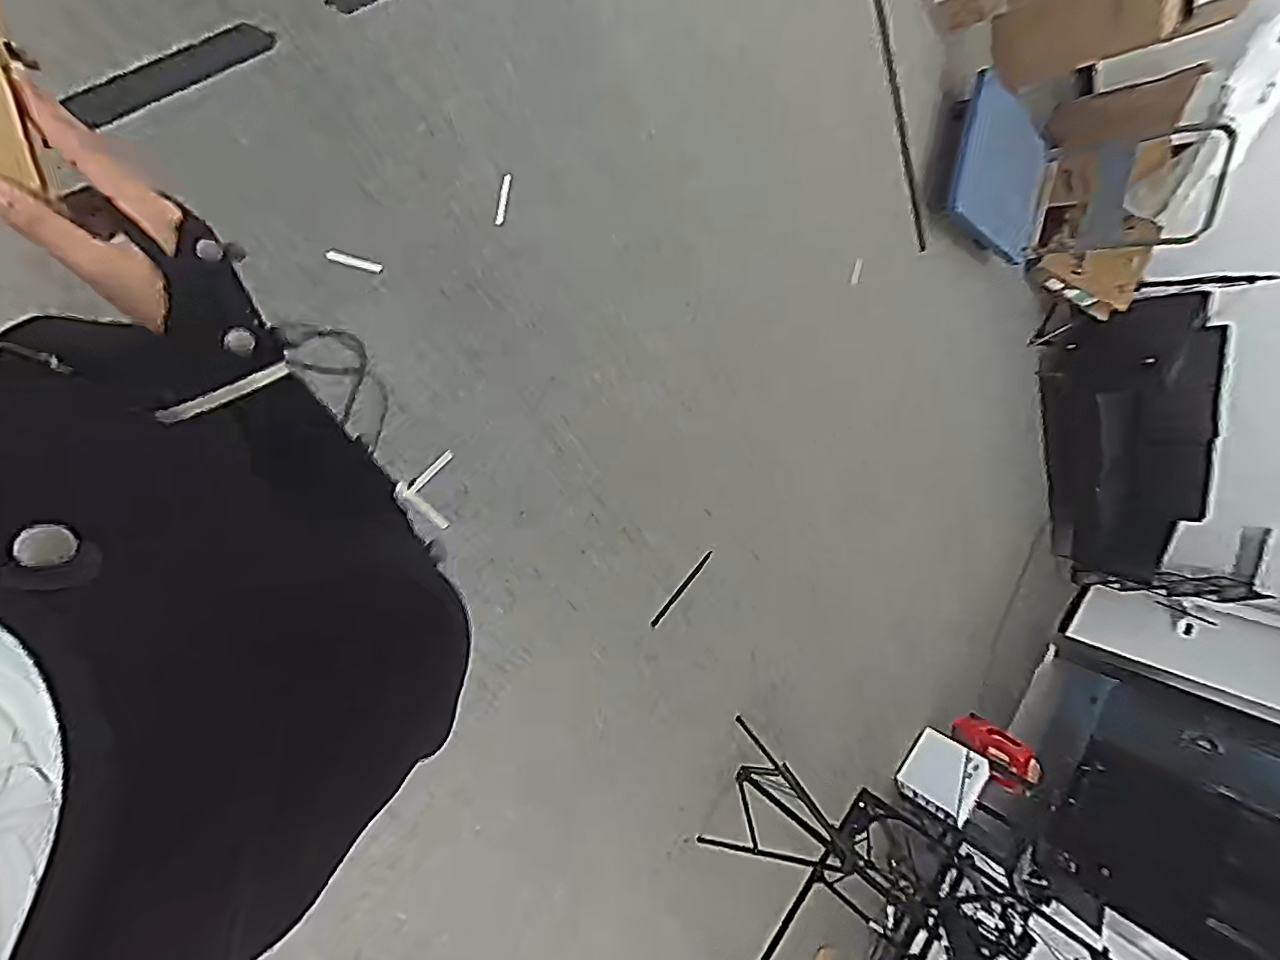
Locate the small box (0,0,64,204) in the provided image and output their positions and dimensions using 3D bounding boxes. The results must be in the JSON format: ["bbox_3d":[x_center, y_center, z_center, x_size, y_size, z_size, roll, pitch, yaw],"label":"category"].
[{"bbox_3d":[-0.413,-0.233,0.249,0.179,0.176,0.168,-15,120,-41],"label":"small box"}]
